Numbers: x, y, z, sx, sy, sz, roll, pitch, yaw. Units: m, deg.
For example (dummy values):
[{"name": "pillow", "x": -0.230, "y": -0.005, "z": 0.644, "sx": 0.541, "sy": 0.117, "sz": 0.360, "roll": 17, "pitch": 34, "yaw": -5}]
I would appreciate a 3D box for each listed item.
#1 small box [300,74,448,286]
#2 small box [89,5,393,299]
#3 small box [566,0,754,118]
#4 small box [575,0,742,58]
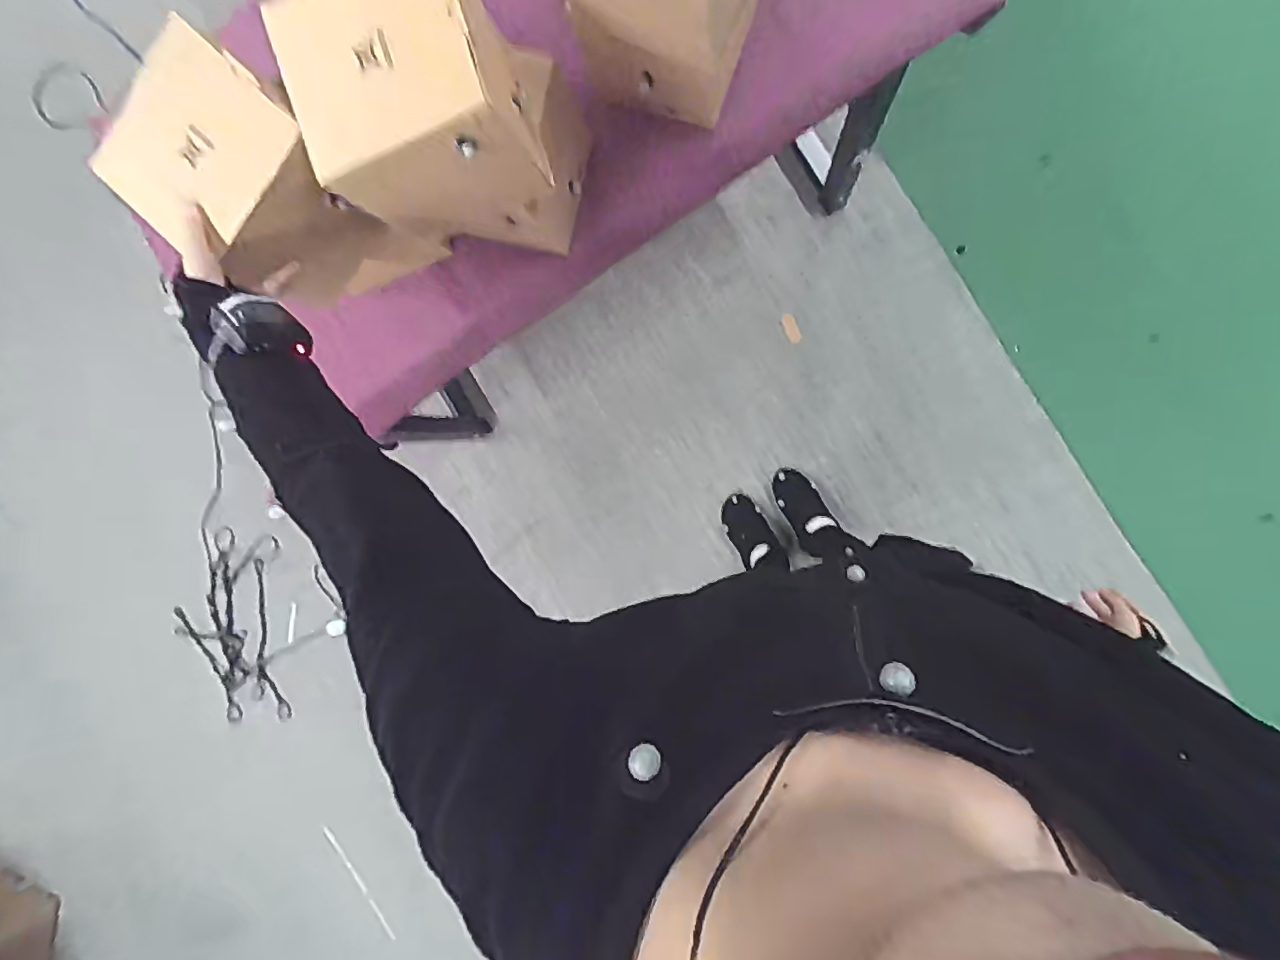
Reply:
[{"name": "small box", "x": -0.399, "y": -0.388, "z": 0.740, "sx": 0.179, "sy": 0.176, "sz": 0.168, "roll": -18, "pitch": 92, "yaw": 11}, {"name": "small box", "x": -0.402, "y": -0.324, "z": 0.579, "sx": 0.168, "sy": 0.176, "sz": 0.179, "roll": 43, "pitch": 103, "yaw": 0}, {"name": "small box", "x": 0.036, "y": -0.578, "z": 0.644, "sx": 0.168, "sy": 0.176, "sz": 0.179, "roll": 21, "pitch": 99, "yaw": 8}, {"name": "small box", "x": 0.025, "y": -0.530, "z": 0.481, "sx": 0.179, "sy": 0.176, "sz": 0.168, "roll": 28, "pitch": 99, "yaw": 8}]
